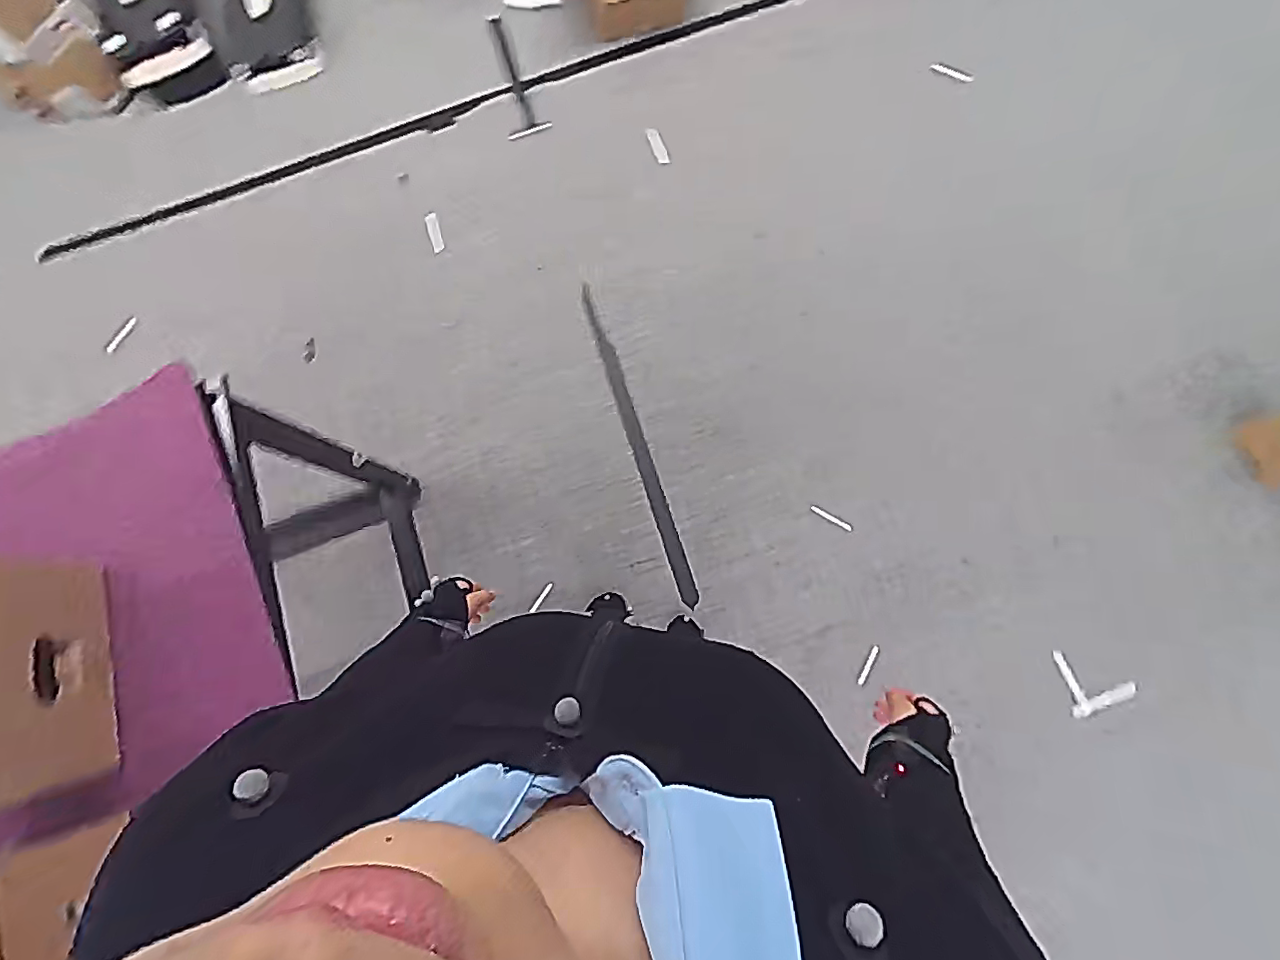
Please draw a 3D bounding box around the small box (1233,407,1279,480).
[{"bbox_3d":[1.721,-0.116,1.402,0.179,0.176,0.168,-22,77,-2],"label":"small box"}]
